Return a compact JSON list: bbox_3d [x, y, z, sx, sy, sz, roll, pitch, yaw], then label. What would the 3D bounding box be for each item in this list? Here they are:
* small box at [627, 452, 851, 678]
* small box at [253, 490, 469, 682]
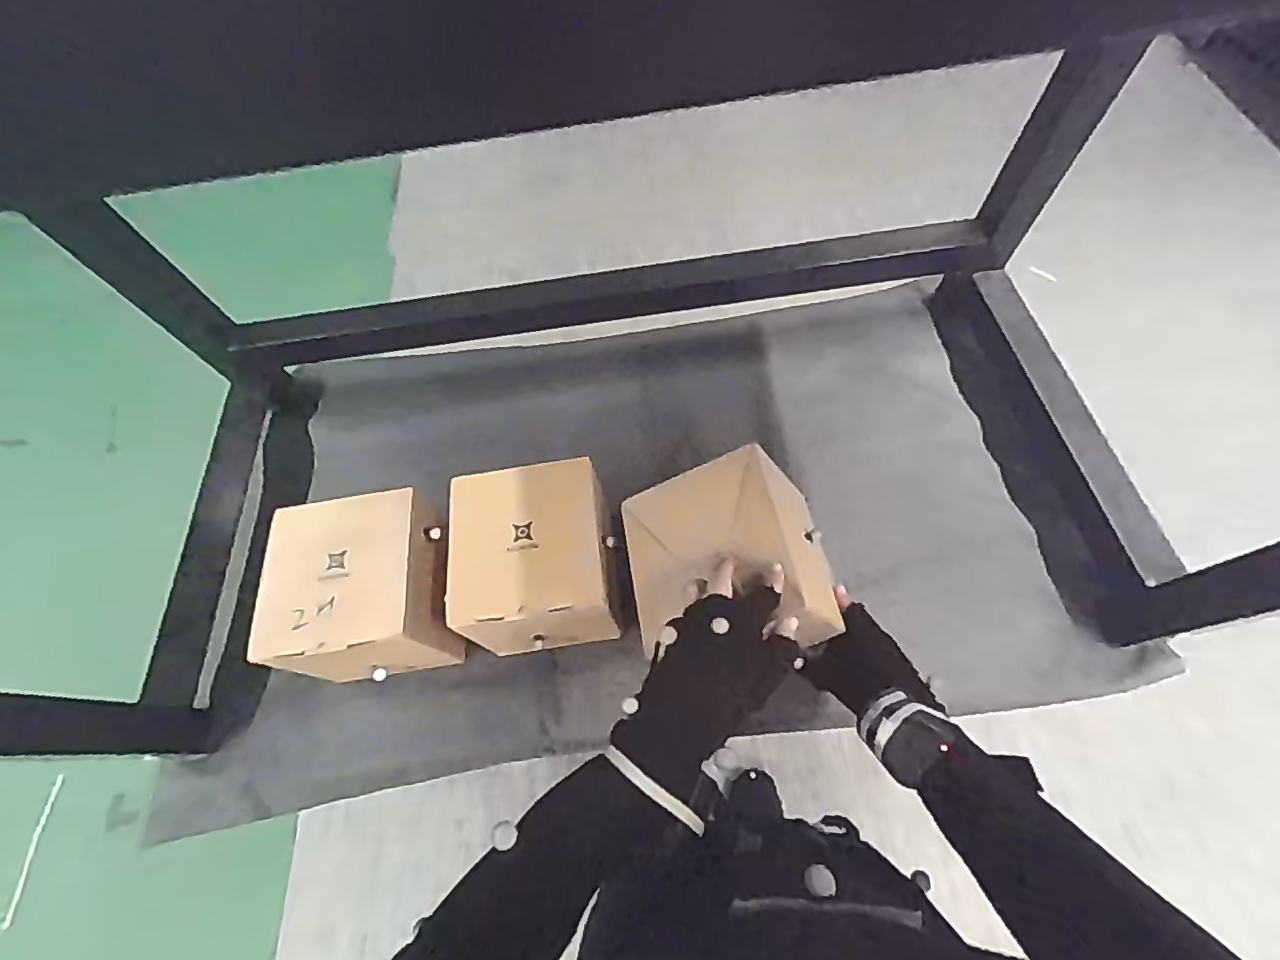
[{"bbox_3d":[0.103,0.100,0.593,0.168,0.176,0.179,-26,56,22],"label":"small box"},{"bbox_3d":[-0.320,0.135,0.662,0.168,0.176,0.179,-9,62,1],"label":"small box"}]
